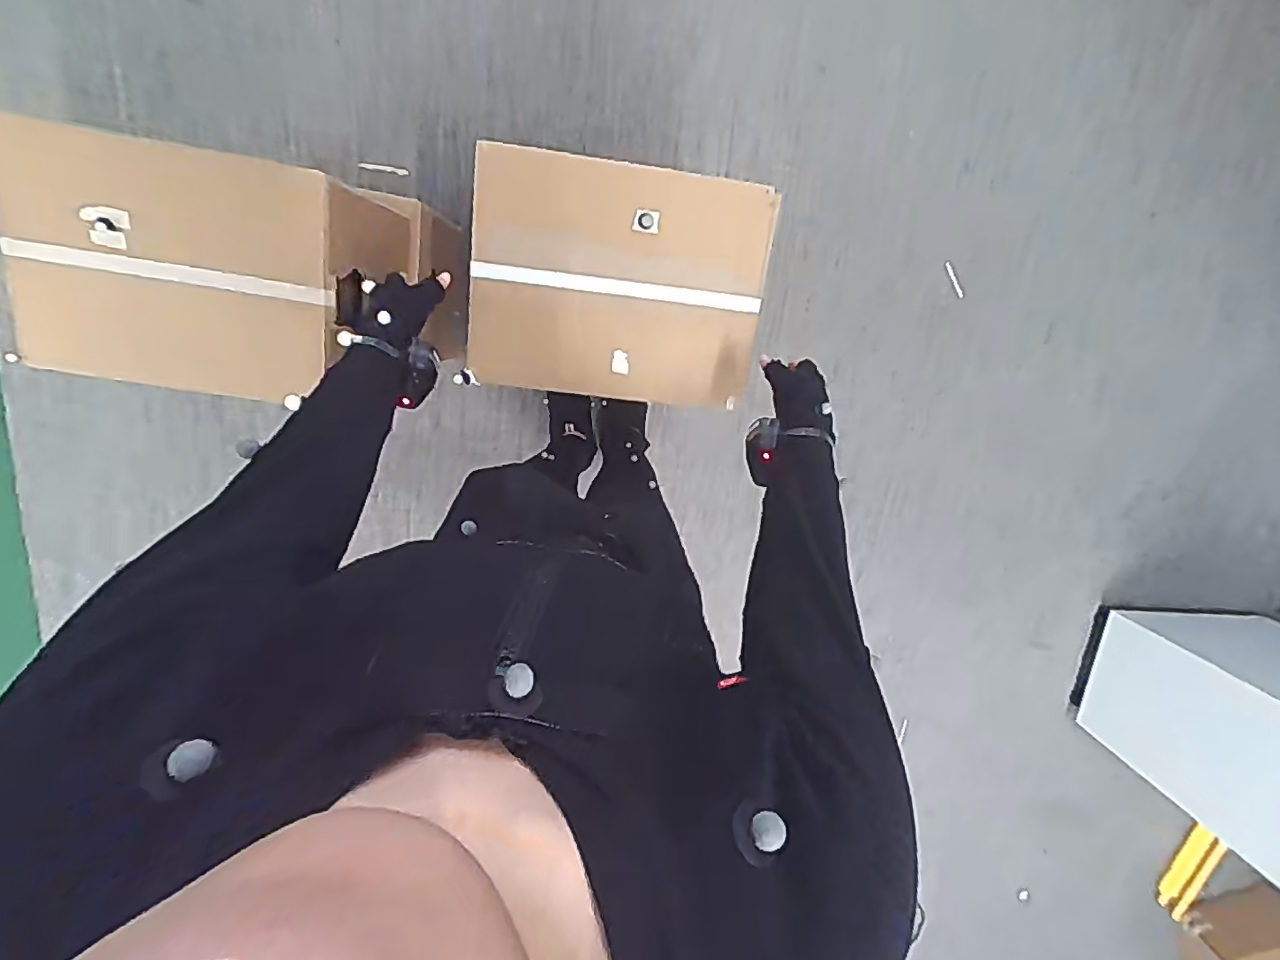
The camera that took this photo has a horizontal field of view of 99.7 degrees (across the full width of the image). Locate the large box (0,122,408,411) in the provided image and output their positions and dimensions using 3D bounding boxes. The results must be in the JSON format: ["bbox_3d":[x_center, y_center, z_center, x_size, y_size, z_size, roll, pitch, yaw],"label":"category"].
[{"bbox_3d":[-0.624,-0.313,0.858,0.408,0.320,0.320,8,106,-5],"label":"large box"}]
